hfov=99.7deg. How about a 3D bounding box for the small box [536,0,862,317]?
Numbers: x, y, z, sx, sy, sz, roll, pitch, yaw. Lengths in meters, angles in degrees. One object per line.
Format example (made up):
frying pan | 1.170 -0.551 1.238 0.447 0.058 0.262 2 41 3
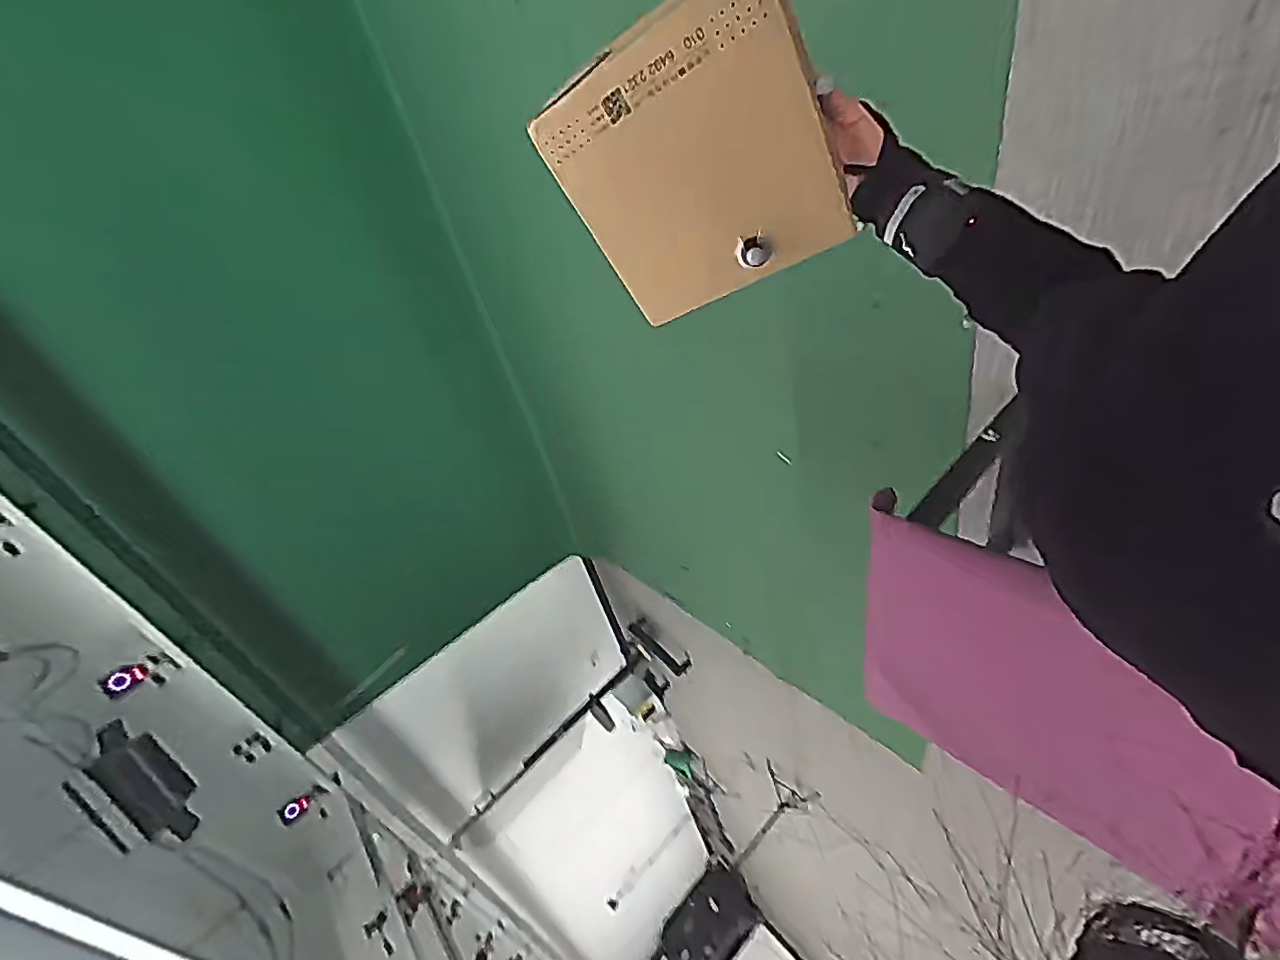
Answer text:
small box | 0.051 -0.264 0.404 0.168 0.179 0.176 -16 133 29
